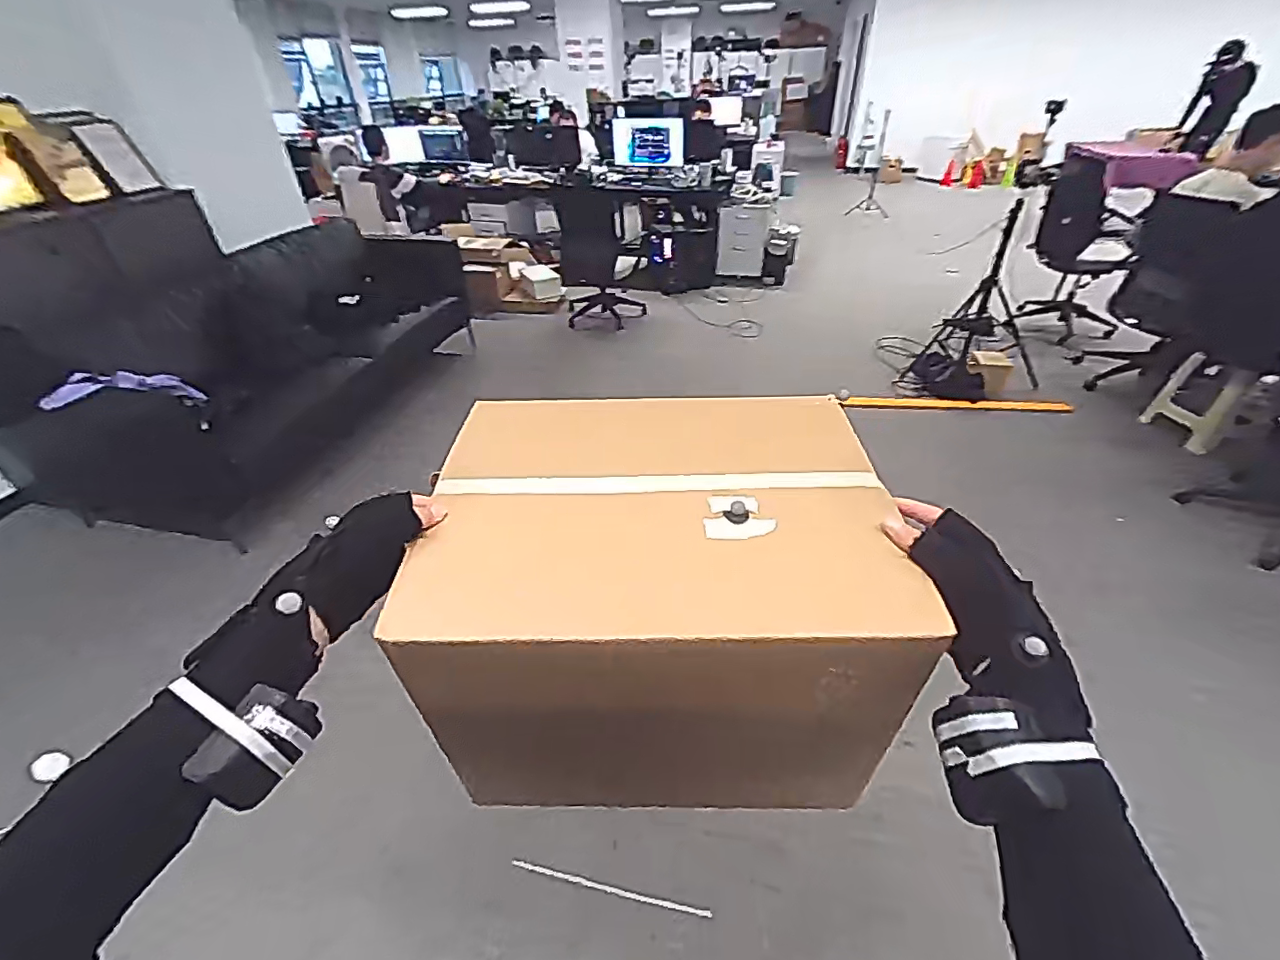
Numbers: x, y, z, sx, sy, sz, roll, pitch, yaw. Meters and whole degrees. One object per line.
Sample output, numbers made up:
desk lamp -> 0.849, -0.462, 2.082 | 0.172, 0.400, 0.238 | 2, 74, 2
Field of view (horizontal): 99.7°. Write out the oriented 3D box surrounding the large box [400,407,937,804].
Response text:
large box -> 0.021, 0.131, 0.600 | 0.408, 0.320, 0.320 | -1, 40, 1
